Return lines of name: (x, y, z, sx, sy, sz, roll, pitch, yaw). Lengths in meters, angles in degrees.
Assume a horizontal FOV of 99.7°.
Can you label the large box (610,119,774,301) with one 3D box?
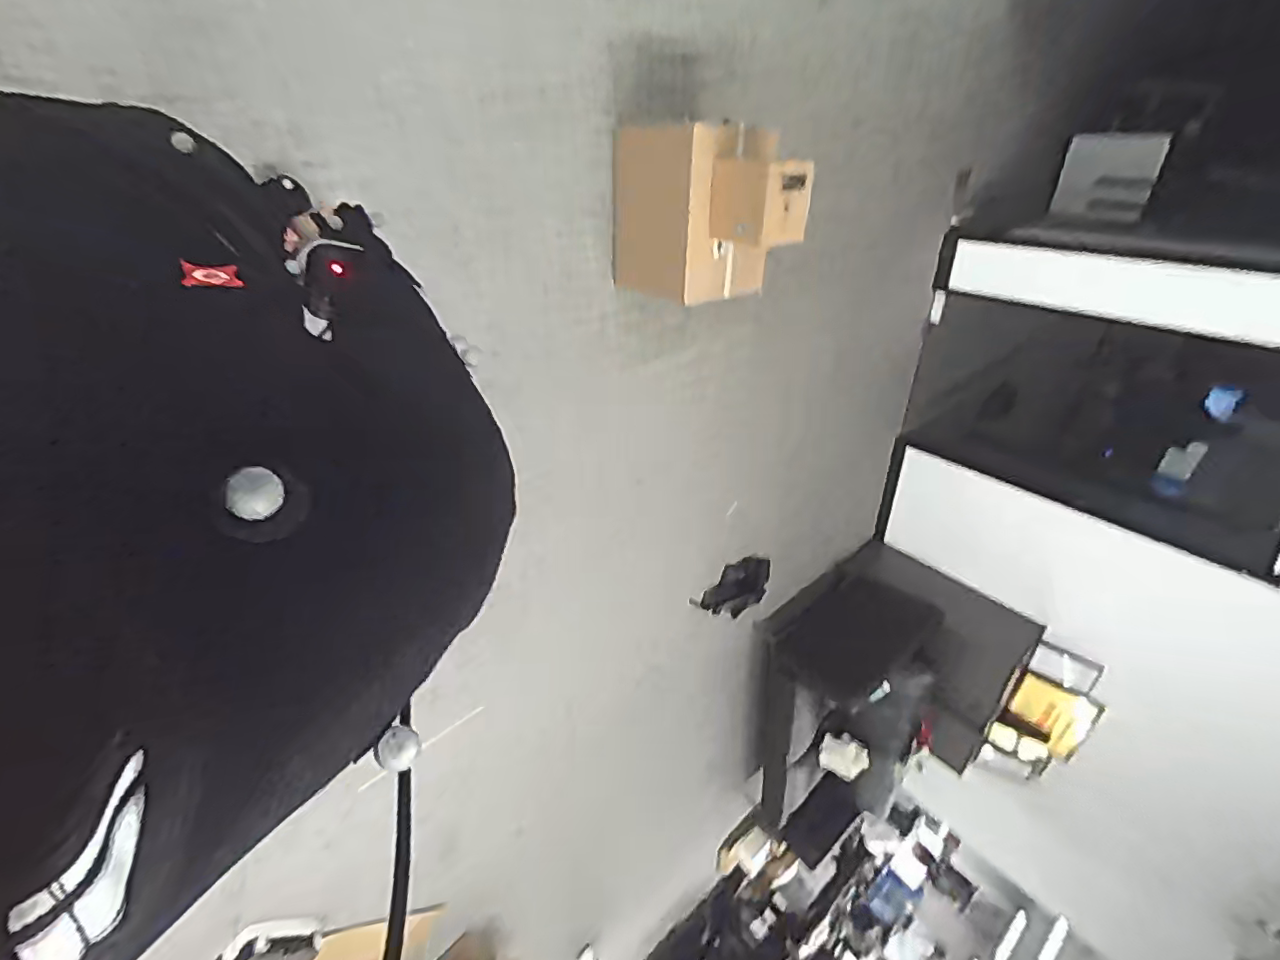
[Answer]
large box: (0.127, -0.752, 1.489, 0.320, 0.320, 0.408, -22, 130, -32)
